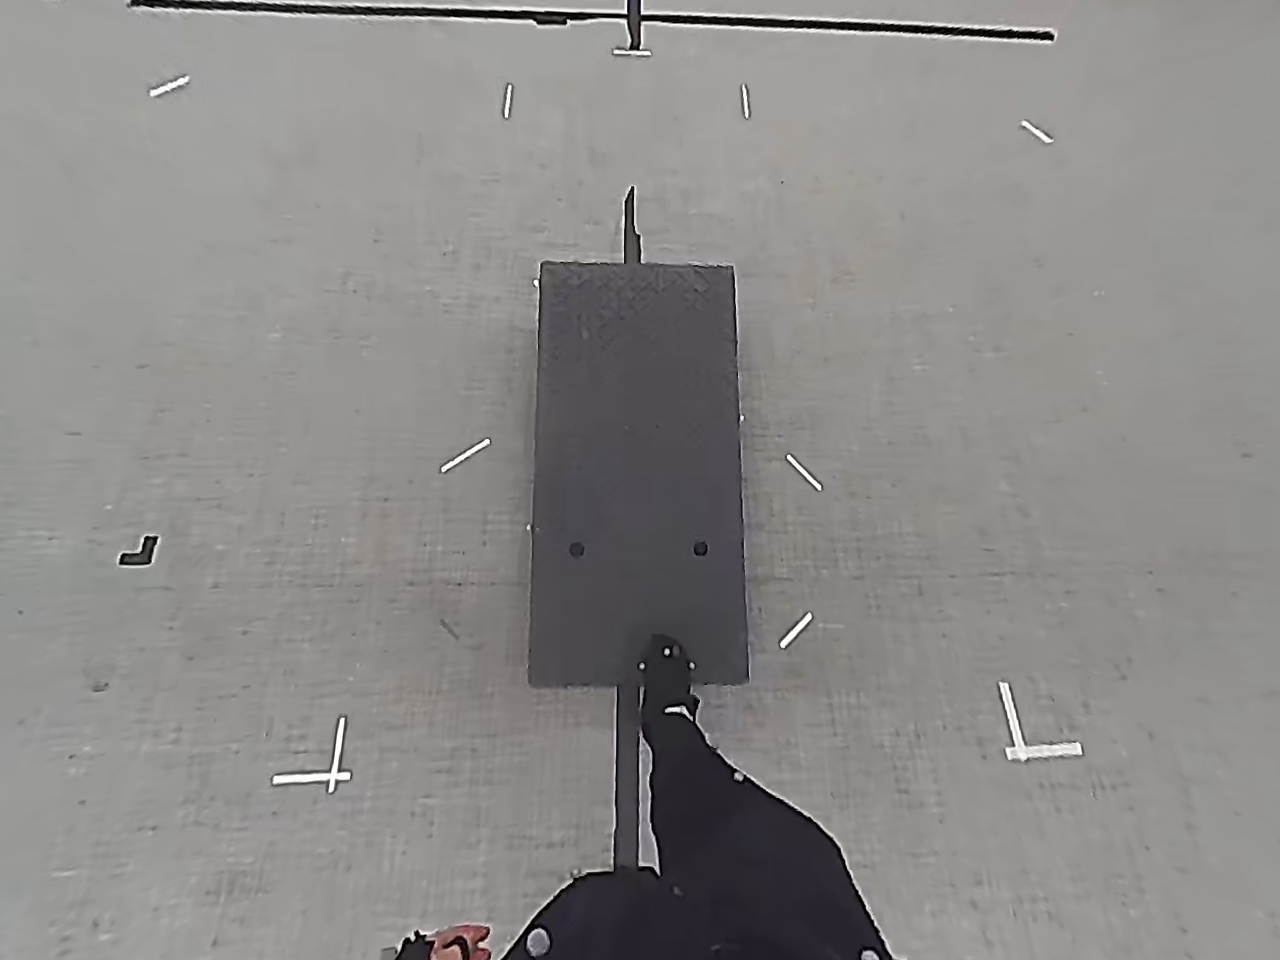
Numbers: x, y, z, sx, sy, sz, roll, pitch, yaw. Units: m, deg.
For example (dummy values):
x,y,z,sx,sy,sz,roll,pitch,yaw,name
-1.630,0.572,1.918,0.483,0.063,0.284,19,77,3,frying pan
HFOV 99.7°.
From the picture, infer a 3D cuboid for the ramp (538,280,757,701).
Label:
x,y,z,sx,sy,sz,roll,pitch,yaw,name
0.010,-0.012,1.281,0.509,0.206,0.991,-2,69,-4,ramp
